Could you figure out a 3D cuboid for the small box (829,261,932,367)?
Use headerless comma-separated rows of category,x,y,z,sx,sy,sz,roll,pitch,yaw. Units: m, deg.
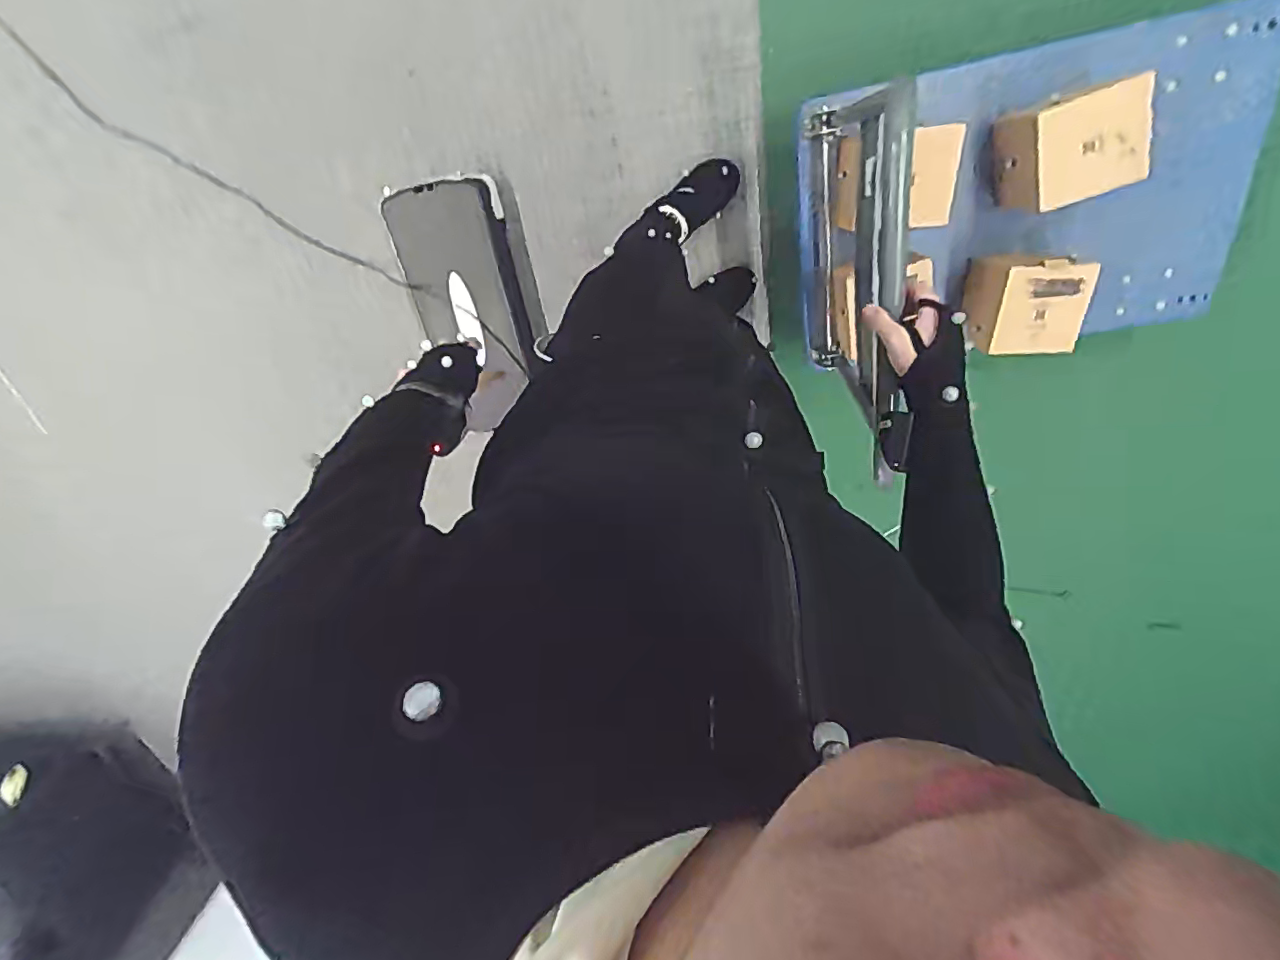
small box,0.516,-0.368,1.177,0.168,0.176,0.179,-9,118,11

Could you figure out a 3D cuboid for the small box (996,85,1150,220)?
small box,0.796,-0.605,1.017,0.179,0.176,0.168,-15,117,14

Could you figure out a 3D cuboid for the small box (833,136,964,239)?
small box,0.497,-0.577,1.067,0.179,0.176,0.168,0,119,7
